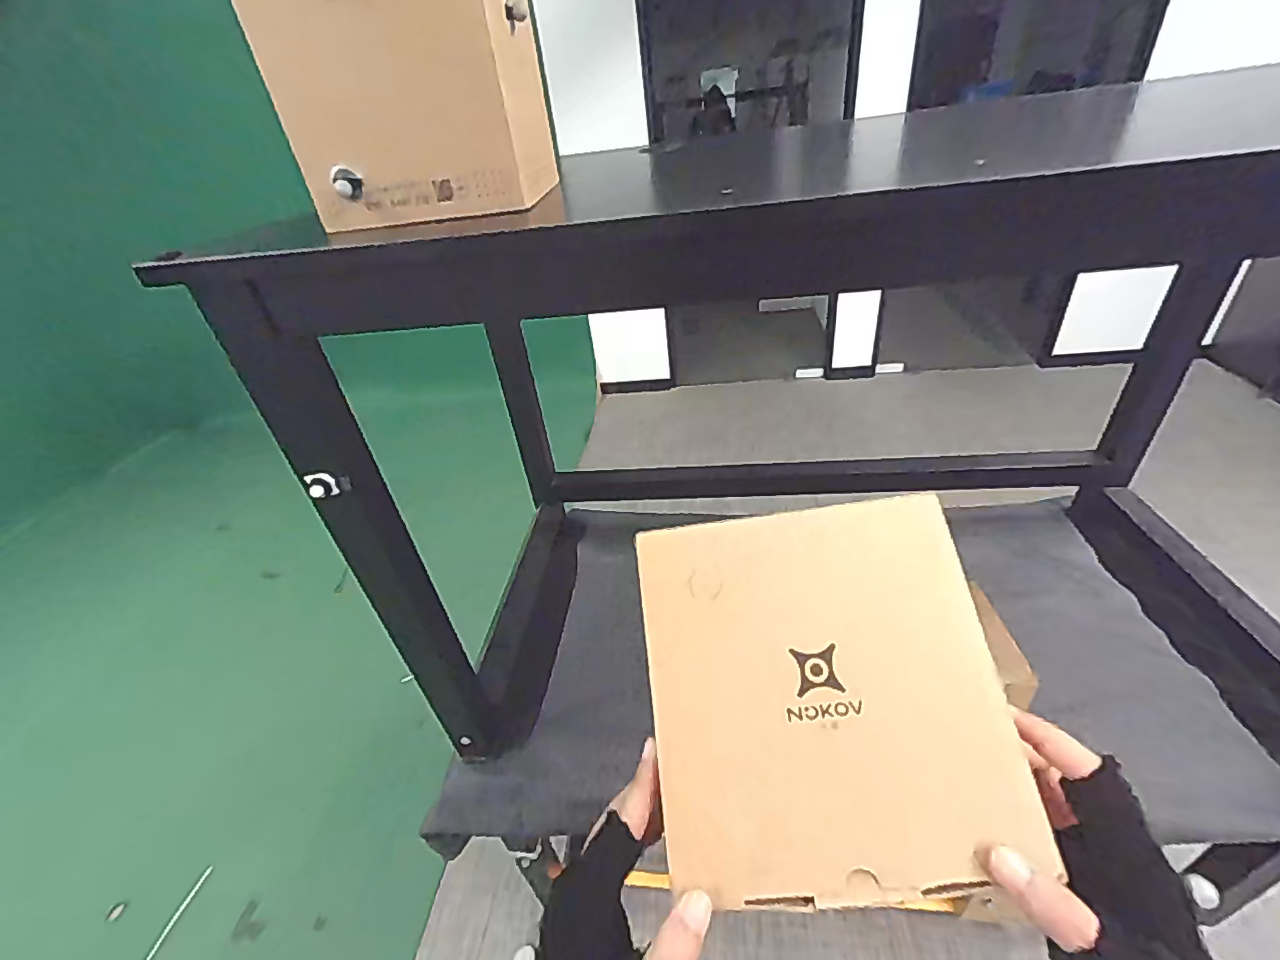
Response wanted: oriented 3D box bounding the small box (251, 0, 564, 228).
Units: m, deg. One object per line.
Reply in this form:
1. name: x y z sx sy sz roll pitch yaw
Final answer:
1. small box: -0.166 -0.317 0.454 0.168 0.176 0.179 -4 34 4
